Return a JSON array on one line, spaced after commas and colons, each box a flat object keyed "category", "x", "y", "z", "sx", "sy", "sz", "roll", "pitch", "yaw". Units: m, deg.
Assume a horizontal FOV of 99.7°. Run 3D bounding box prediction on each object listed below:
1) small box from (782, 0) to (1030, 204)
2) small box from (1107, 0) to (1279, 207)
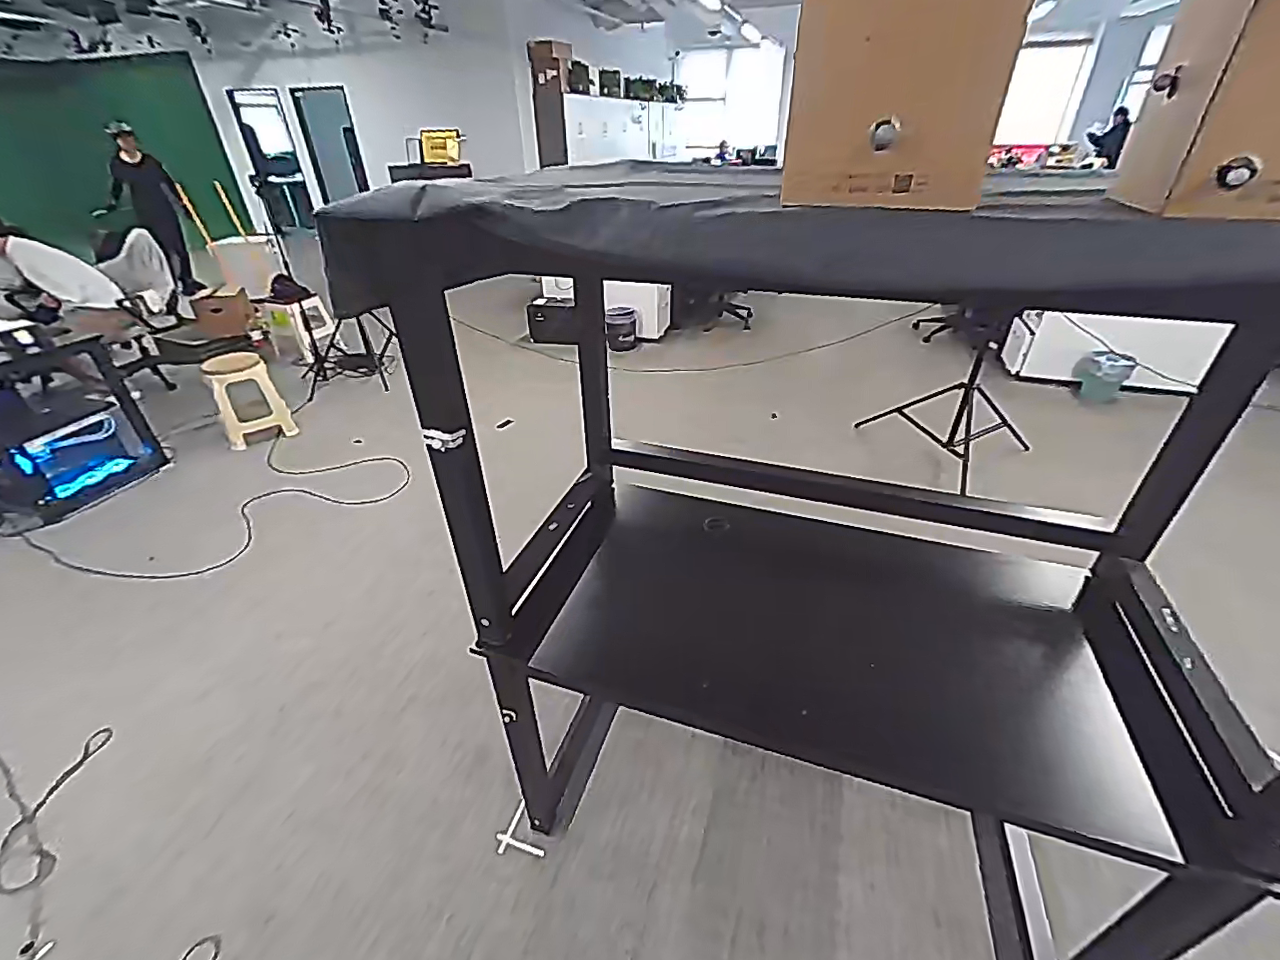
[{"category": "small box", "x": 0.233, "y": -0.360, "z": 0.503, "sx": 0.168, "sy": 0.176, "sz": 0.179, "roll": 10, "pitch": 33, "yaw": 18}, {"category": "small box", "x": 0.517, "y": -0.311, "z": 0.423, "sx": 0.168, "sy": 0.176, "sz": 0.179, "roll": 12, "pitch": 34, "yaw": 20}]
